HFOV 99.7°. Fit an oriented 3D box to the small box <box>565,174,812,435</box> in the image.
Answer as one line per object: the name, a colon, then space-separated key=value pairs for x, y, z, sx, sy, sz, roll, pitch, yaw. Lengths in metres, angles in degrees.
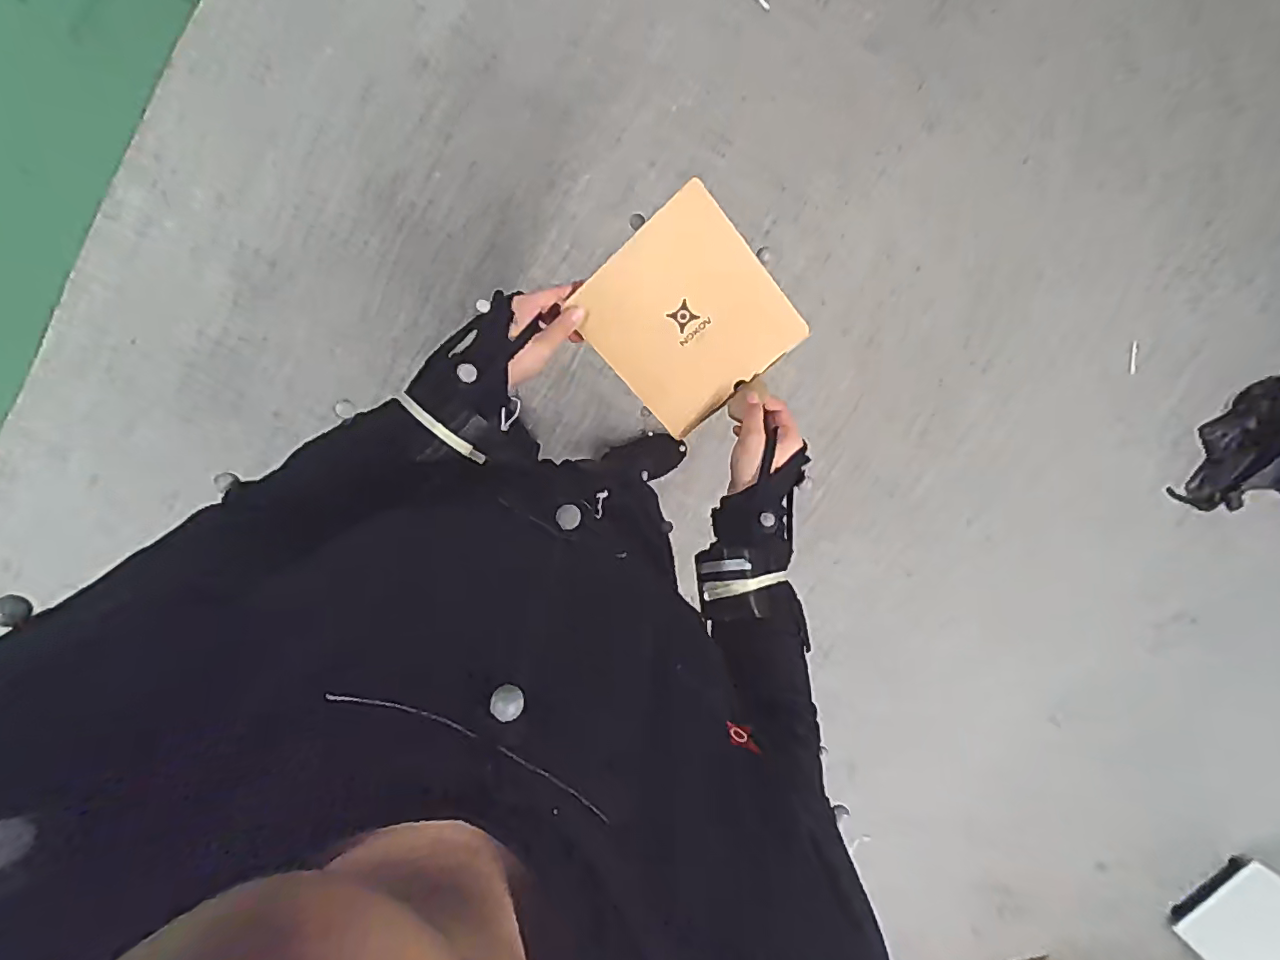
small box: x=0.045 y=-0.181 z=0.573 sx=0.168 sy=0.176 sz=0.179 roll=-40 pitch=108 yaw=16
